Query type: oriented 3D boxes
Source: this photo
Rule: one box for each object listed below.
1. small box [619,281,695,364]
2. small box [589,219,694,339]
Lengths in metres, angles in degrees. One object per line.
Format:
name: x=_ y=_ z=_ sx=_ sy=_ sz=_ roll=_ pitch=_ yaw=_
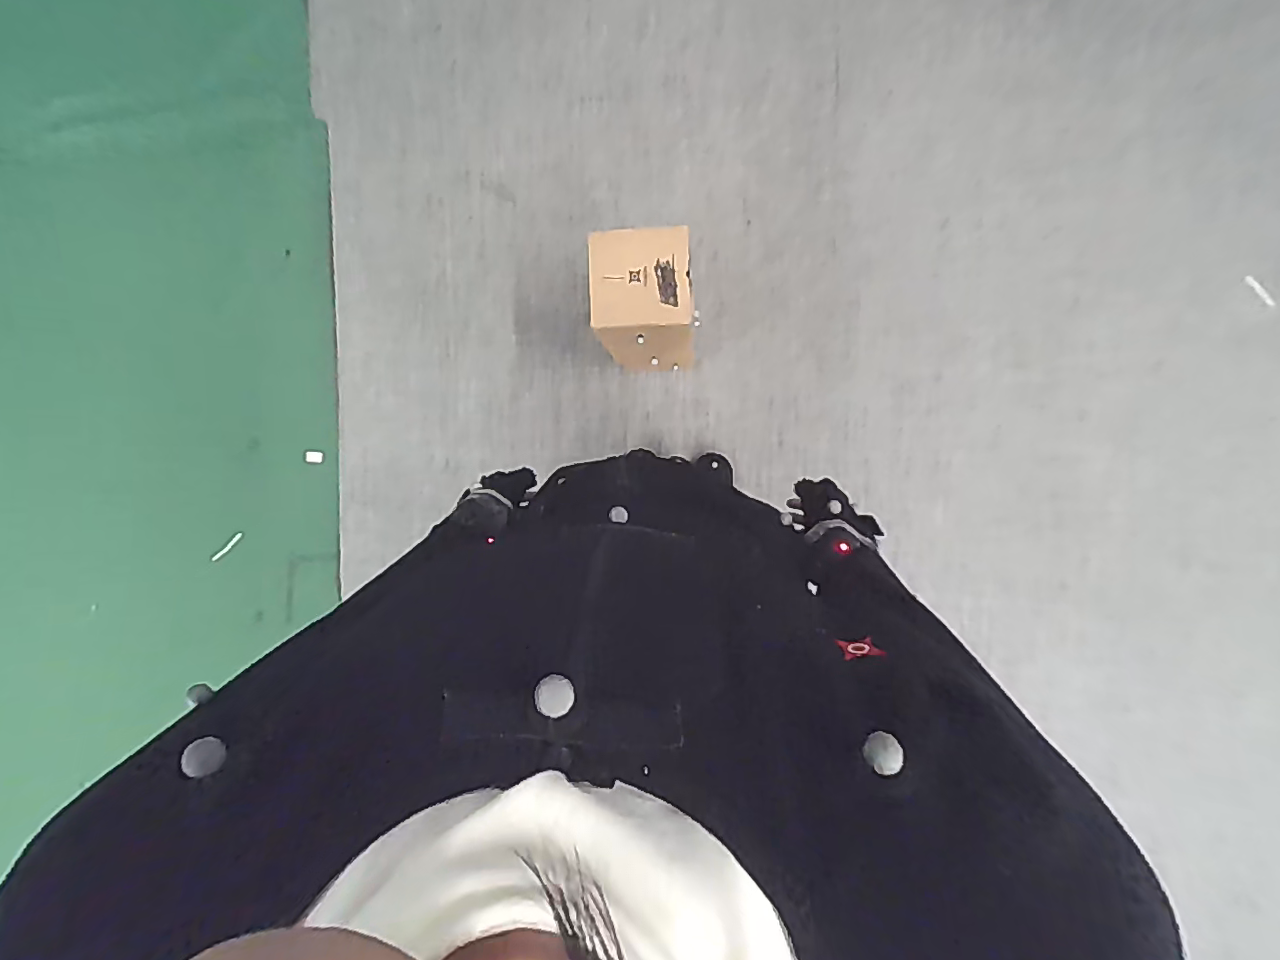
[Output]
small box: x=0.046 y=-0.380 z=1.326 sx=0.179 sy=0.176 sz=0.168 roll=-1 pitch=93 yaw=7
small box: x=0.008 y=-0.362 z=0.997 sx=0.179 sy=0.176 sz=0.168 roll=2 pitch=92 yaw=5
